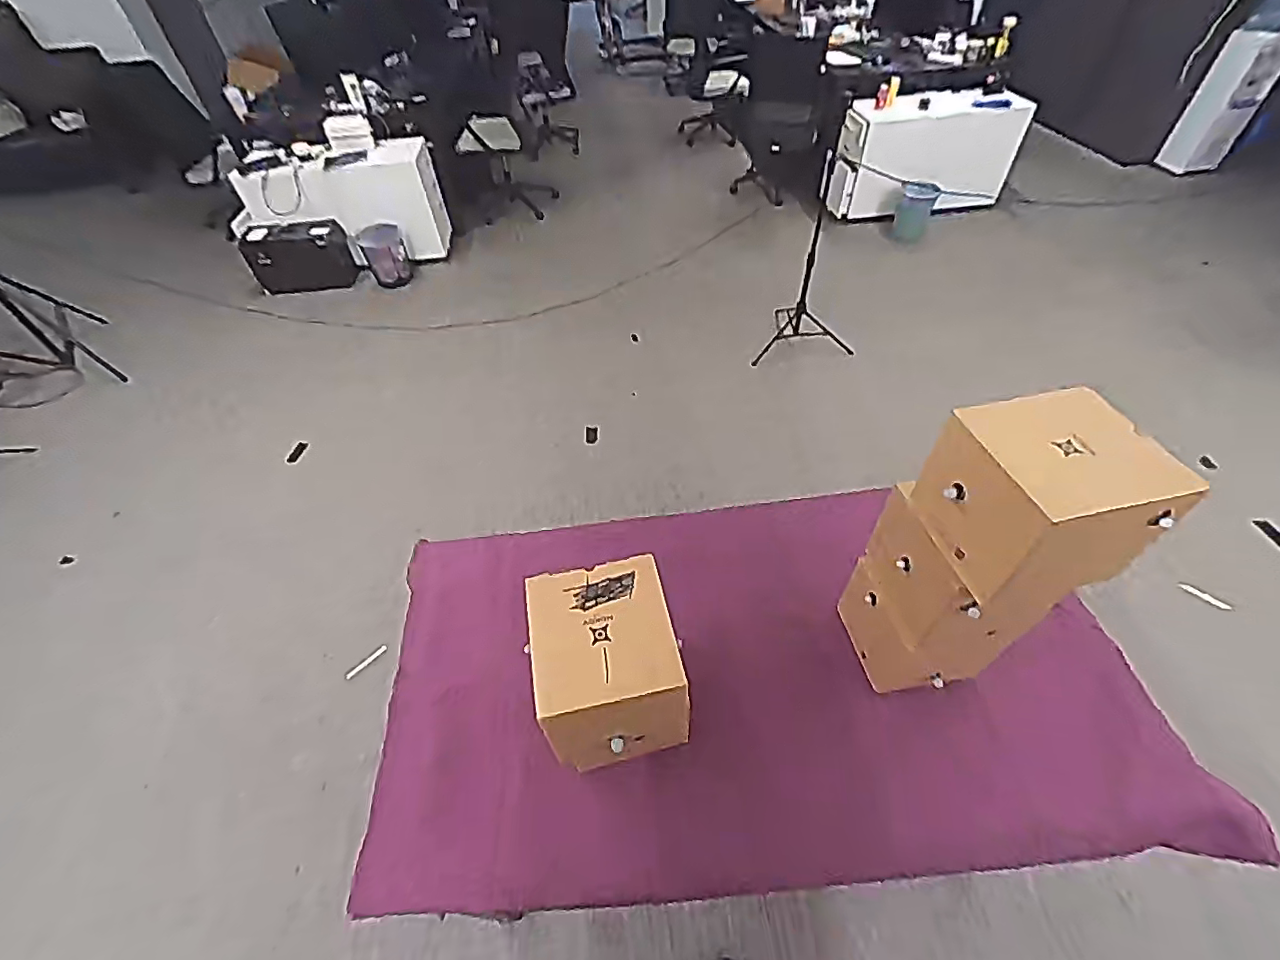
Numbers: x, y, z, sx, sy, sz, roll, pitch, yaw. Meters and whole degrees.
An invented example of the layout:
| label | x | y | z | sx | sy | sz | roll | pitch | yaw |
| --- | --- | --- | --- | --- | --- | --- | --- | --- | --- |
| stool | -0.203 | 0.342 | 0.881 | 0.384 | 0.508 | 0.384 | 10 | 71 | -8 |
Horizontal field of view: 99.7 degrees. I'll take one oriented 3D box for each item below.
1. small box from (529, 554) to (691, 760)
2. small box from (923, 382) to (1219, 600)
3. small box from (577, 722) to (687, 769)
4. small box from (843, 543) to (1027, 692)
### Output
| label | x | y | z | sx | sy | sz | roll | pitch | yaw |
| --- | --- | --- | --- | --- | --- | --- | --- | --- | --- |
| small box | -0.039 | 0.222 | 0.677 | 0.168 | 0.176 | 0.179 | -11 | 49 | -6 |
| small box | 0.453 | 0.016 | 0.613 | 0.179 | 0.176 | 0.168 | -11 | 48 | -6 |
| small box | -0.030 | 0.312 | 0.817 | 0.179 | 0.176 | 0.168 | -12 | 49 | -8 |
| small box | 0.455 | 0.222 | 0.870 | 0.179 | 0.176 | 0.168 | -8 | 48 | -5 |
